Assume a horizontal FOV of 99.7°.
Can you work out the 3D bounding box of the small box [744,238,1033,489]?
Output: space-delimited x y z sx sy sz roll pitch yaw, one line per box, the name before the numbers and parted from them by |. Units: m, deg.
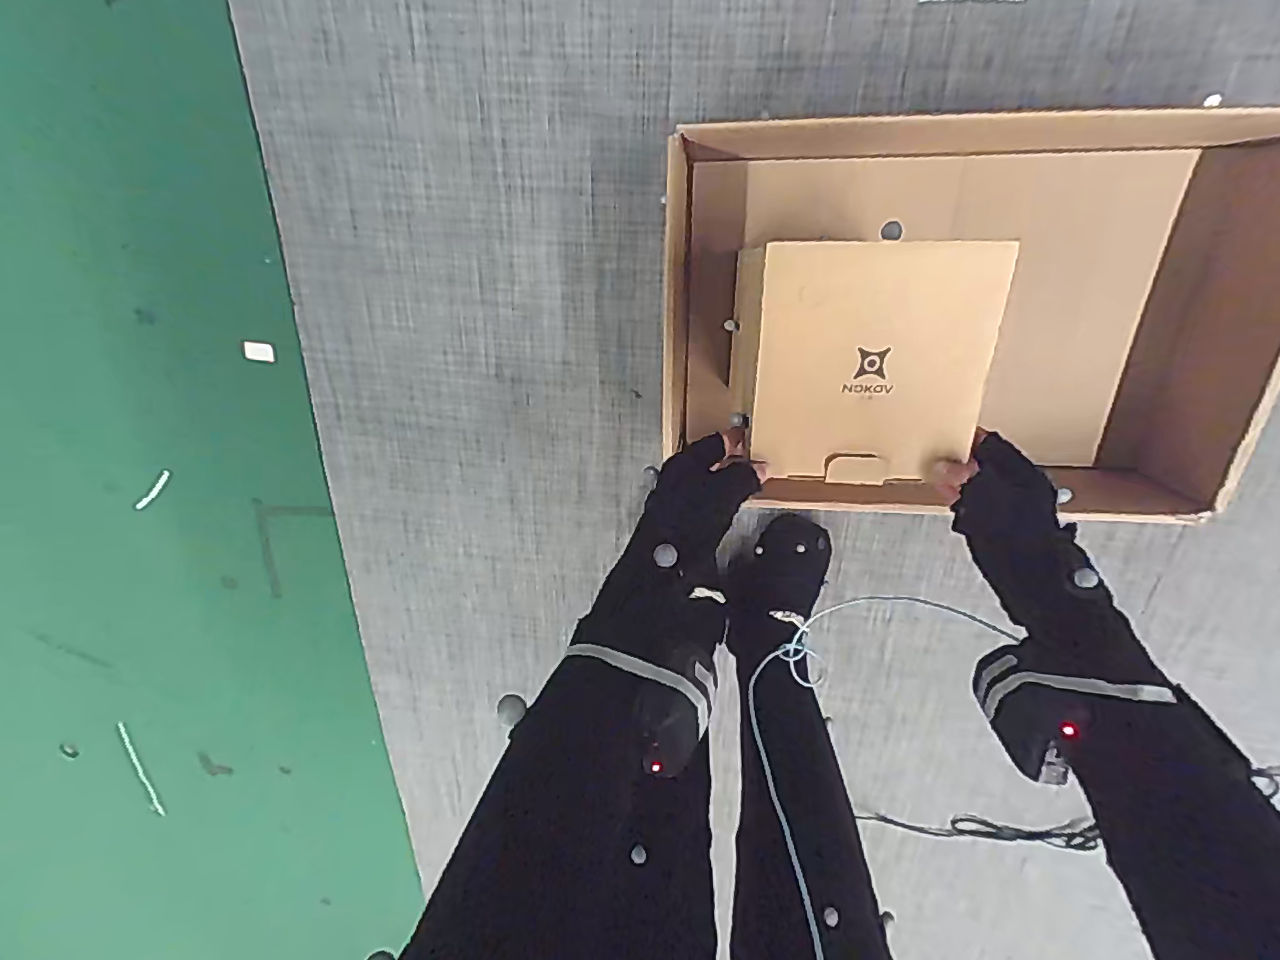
small box | 0.181 -0.107 0.459 0.168 0.176 0.179 2 113 6
